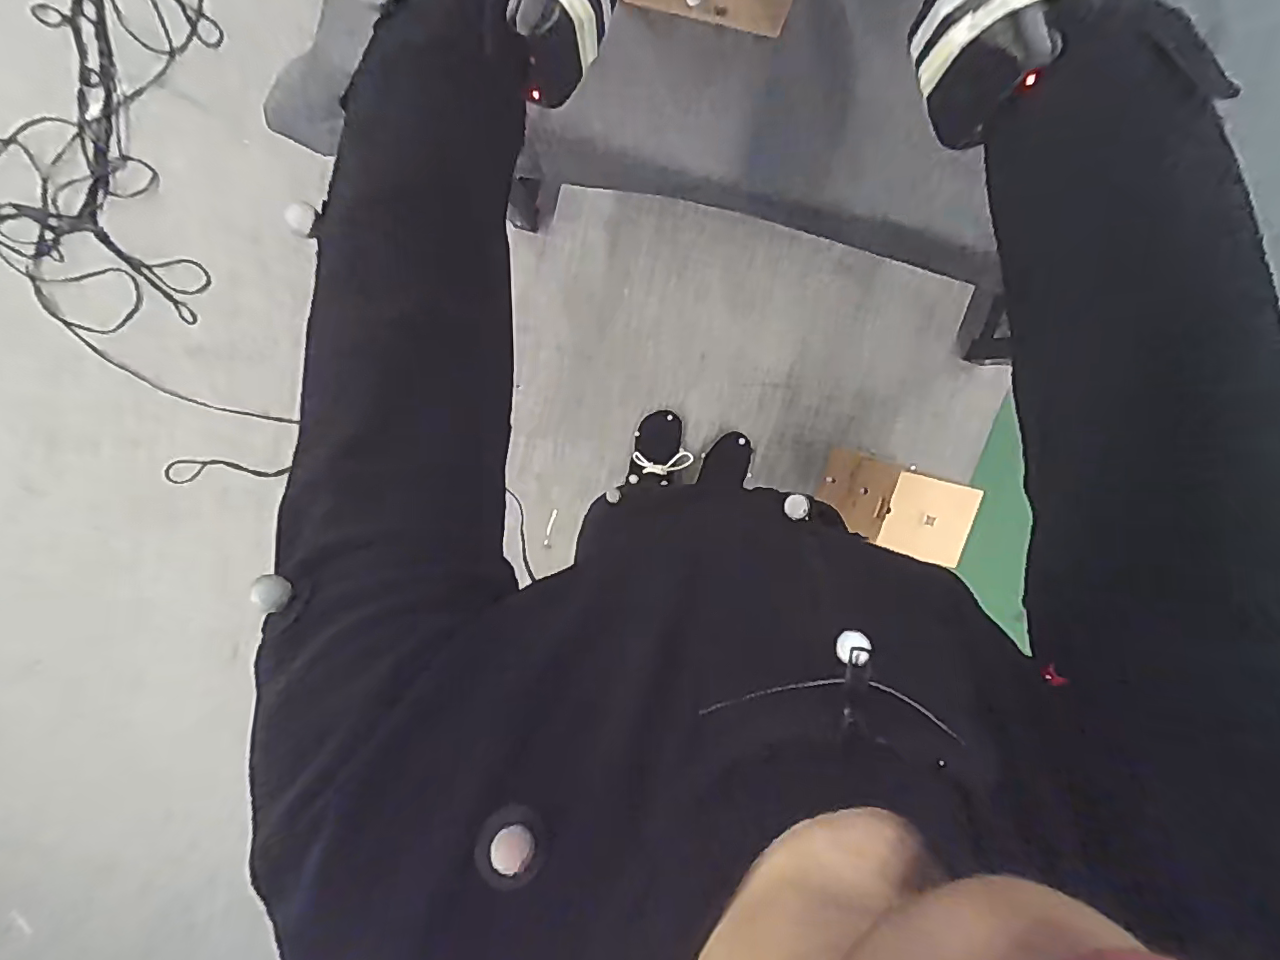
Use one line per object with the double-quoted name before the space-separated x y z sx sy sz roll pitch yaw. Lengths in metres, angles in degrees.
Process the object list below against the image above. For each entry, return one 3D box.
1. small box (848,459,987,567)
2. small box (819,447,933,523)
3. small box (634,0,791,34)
"small box" 0.567 0.062 1.128 0.179 0.176 0.168 13 101 -2
"small box" 0.551 0.024 1.289 0.179 0.176 0.168 15 100 -2
"small box" 0.077 -0.529 0.445 0.168 0.176 0.179 12 101 -1
